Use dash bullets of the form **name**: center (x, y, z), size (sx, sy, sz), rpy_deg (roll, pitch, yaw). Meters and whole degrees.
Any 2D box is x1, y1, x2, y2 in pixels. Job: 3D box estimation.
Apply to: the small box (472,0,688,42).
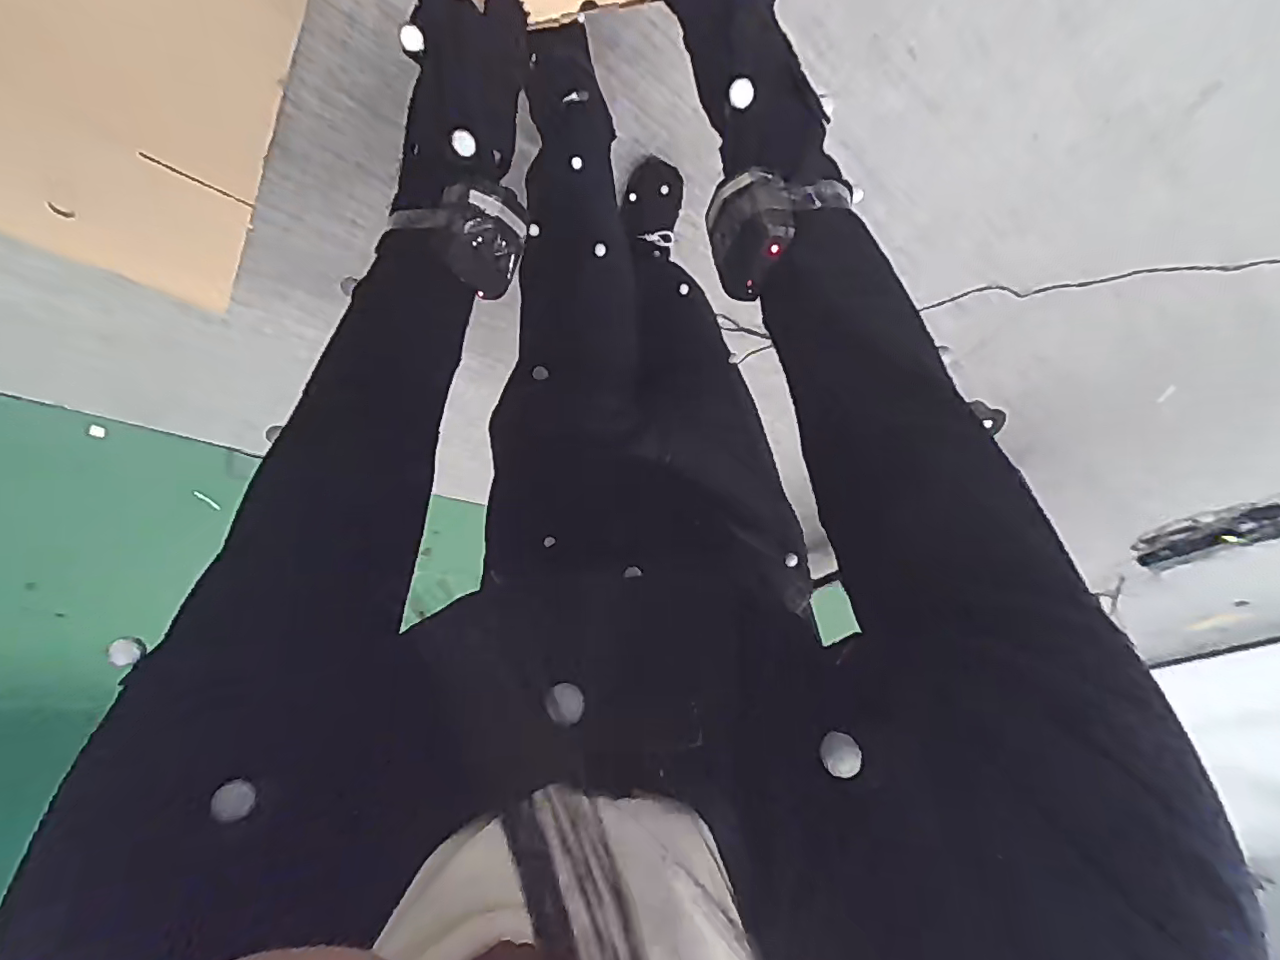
- **small box**: center (-0.056, -0.455, 0.382), size (0.168, 0.176, 0.179), rpy_deg (-10, 141, 4)
